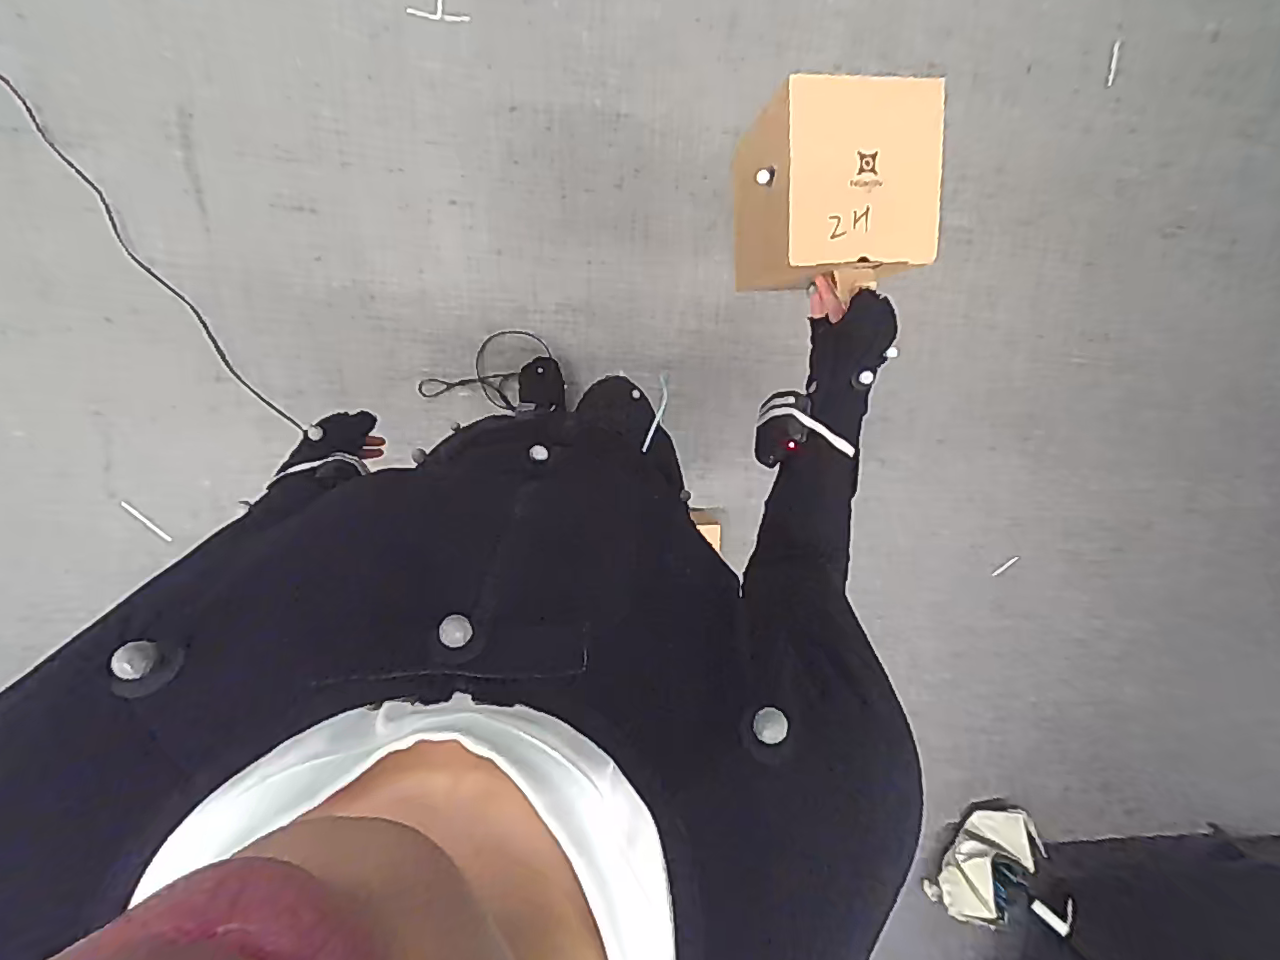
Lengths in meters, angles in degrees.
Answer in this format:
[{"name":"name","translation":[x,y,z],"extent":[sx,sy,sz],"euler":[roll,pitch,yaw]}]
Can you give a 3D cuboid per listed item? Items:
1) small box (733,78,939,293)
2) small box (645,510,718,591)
[{"name":"small box","translation":[0.211,-0.320,0.624],"extent":[0.168,0.176,0.179],"euler":[-4,102,-8]},{"name":"small box","translation":[0.108,0.188,1.470],"extent":[0.168,0.176,0.179],"euler":[0,100,-8]}]
